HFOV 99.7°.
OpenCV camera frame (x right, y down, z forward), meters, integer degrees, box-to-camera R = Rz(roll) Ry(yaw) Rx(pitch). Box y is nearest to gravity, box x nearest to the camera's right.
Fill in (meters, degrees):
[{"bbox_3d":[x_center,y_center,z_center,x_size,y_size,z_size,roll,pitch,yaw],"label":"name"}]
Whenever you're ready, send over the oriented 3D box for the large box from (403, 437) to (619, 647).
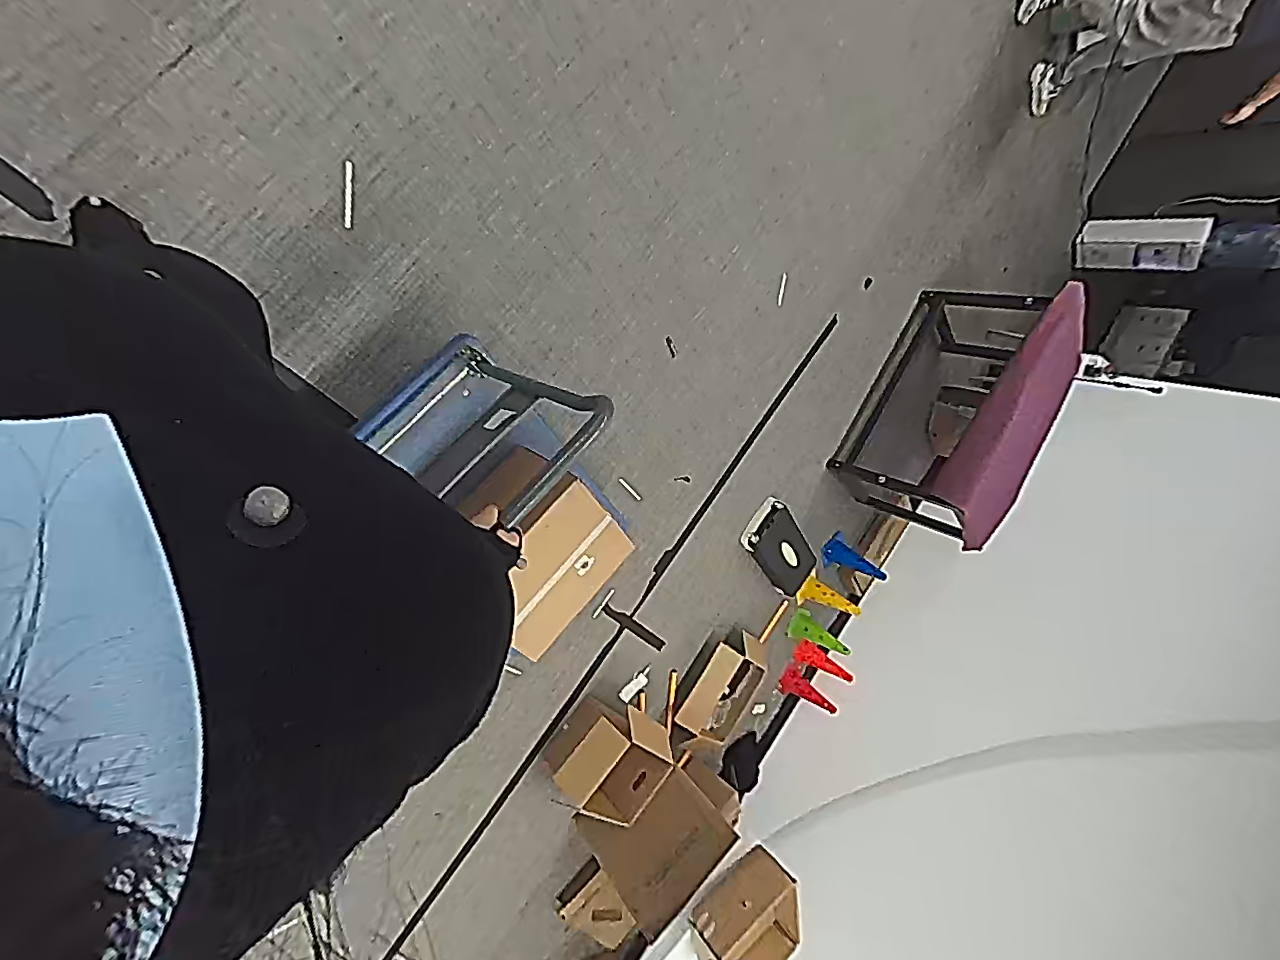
[{"bbox_3d":[-0.341,0.155,1.453,0.408,0.320,0.320,-49,134,-16],"label":"large box"}]
